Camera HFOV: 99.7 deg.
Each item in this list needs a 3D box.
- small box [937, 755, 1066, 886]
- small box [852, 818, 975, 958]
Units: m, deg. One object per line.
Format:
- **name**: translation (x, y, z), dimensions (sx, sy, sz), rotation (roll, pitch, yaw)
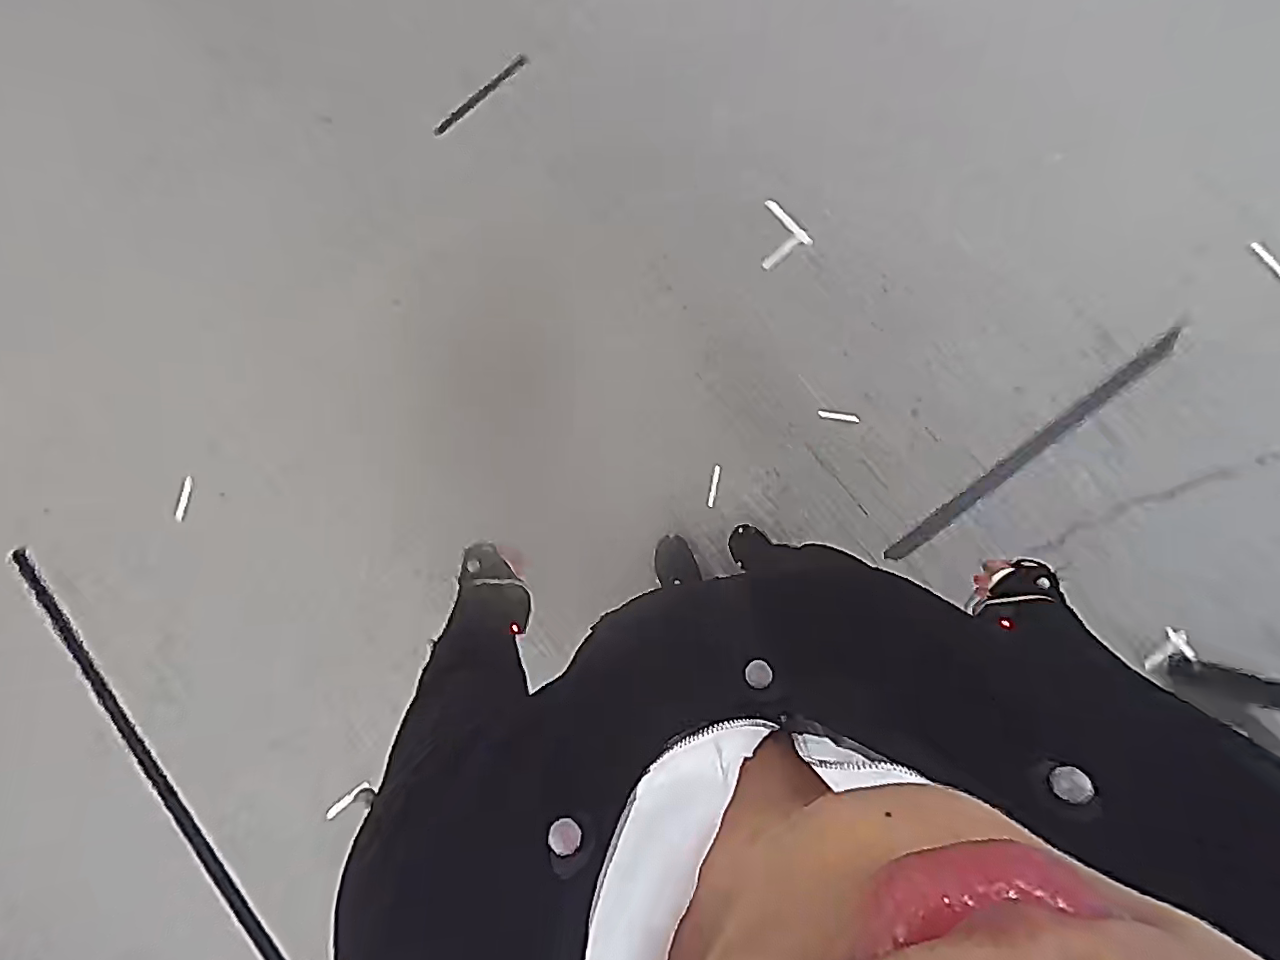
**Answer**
- **small box**: translation (0.863, 0.820, 1.319), dimensions (0.179, 0.176, 0.168), rotation (-39, 84, -1)
- **small box**: translation (0.656, 0.981, 1.318), dimensions (0.168, 0.176, 0.179), rotation (-40, 84, 0)
